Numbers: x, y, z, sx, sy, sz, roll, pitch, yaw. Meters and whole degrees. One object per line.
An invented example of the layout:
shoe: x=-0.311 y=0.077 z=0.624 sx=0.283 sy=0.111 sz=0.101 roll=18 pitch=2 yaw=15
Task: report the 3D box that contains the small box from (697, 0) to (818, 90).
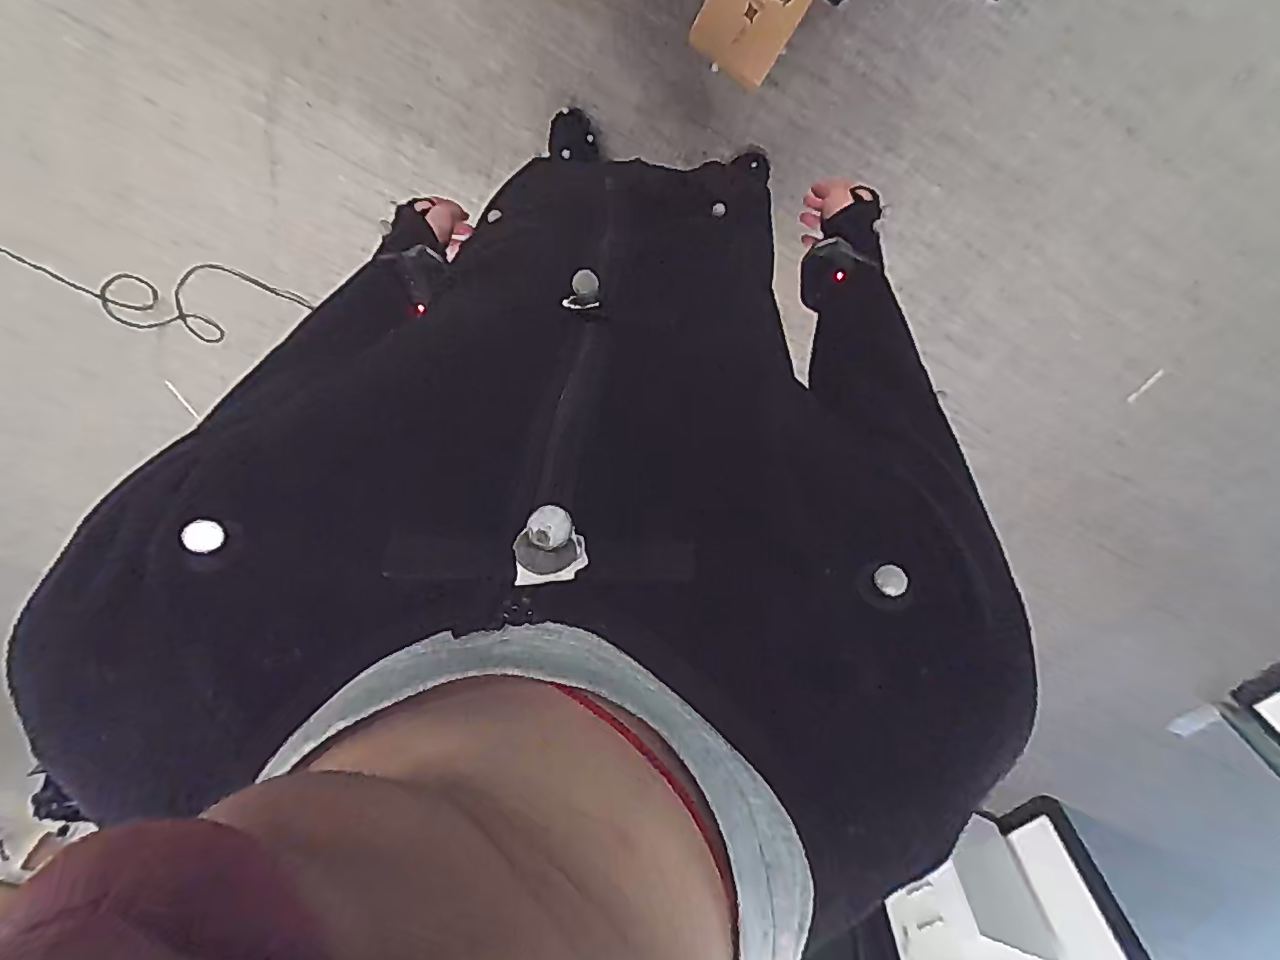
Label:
small box: x=0.219 y=-0.894 z=1.041 sx=0.168 sy=0.176 sz=0.179 roll=29 pitch=121 yaw=-14
